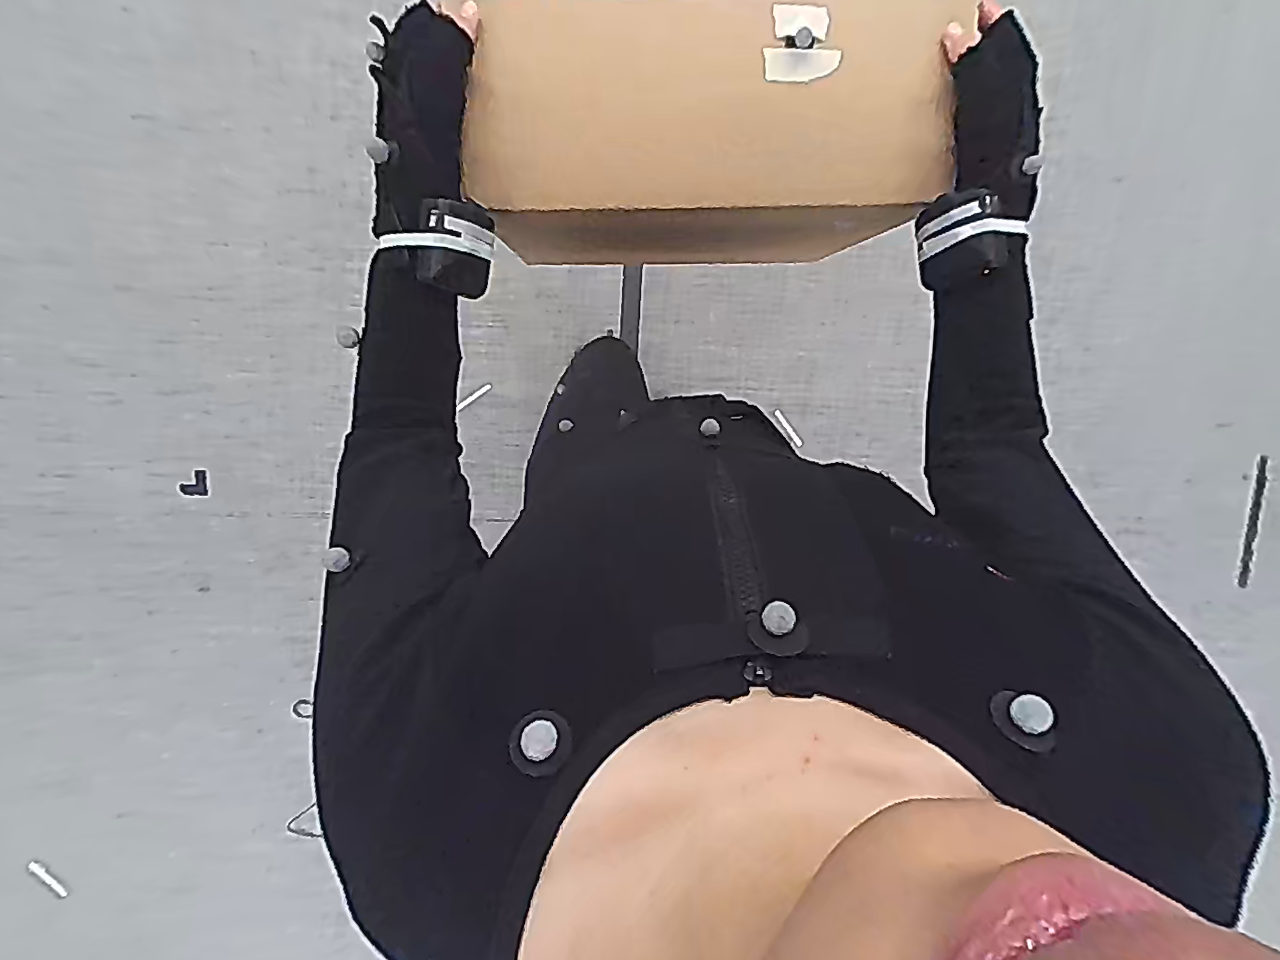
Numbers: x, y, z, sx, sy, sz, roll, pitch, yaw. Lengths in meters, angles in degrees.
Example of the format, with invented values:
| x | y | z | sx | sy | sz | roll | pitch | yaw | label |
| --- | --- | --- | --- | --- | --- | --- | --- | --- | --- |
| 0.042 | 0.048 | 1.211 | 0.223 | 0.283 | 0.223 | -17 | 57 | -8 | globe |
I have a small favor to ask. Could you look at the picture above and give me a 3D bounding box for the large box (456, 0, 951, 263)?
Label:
| x | y | z | sx | sy | sz | roll | pitch | yaw | label |
| --- | --- | --- | --- | --- | --- | --- | --- | --- | --- |
| 0.043 | -0.422 | 0.570 | 0.408 | 0.320 | 0.320 | -2 | 104 | -3 | large box |
